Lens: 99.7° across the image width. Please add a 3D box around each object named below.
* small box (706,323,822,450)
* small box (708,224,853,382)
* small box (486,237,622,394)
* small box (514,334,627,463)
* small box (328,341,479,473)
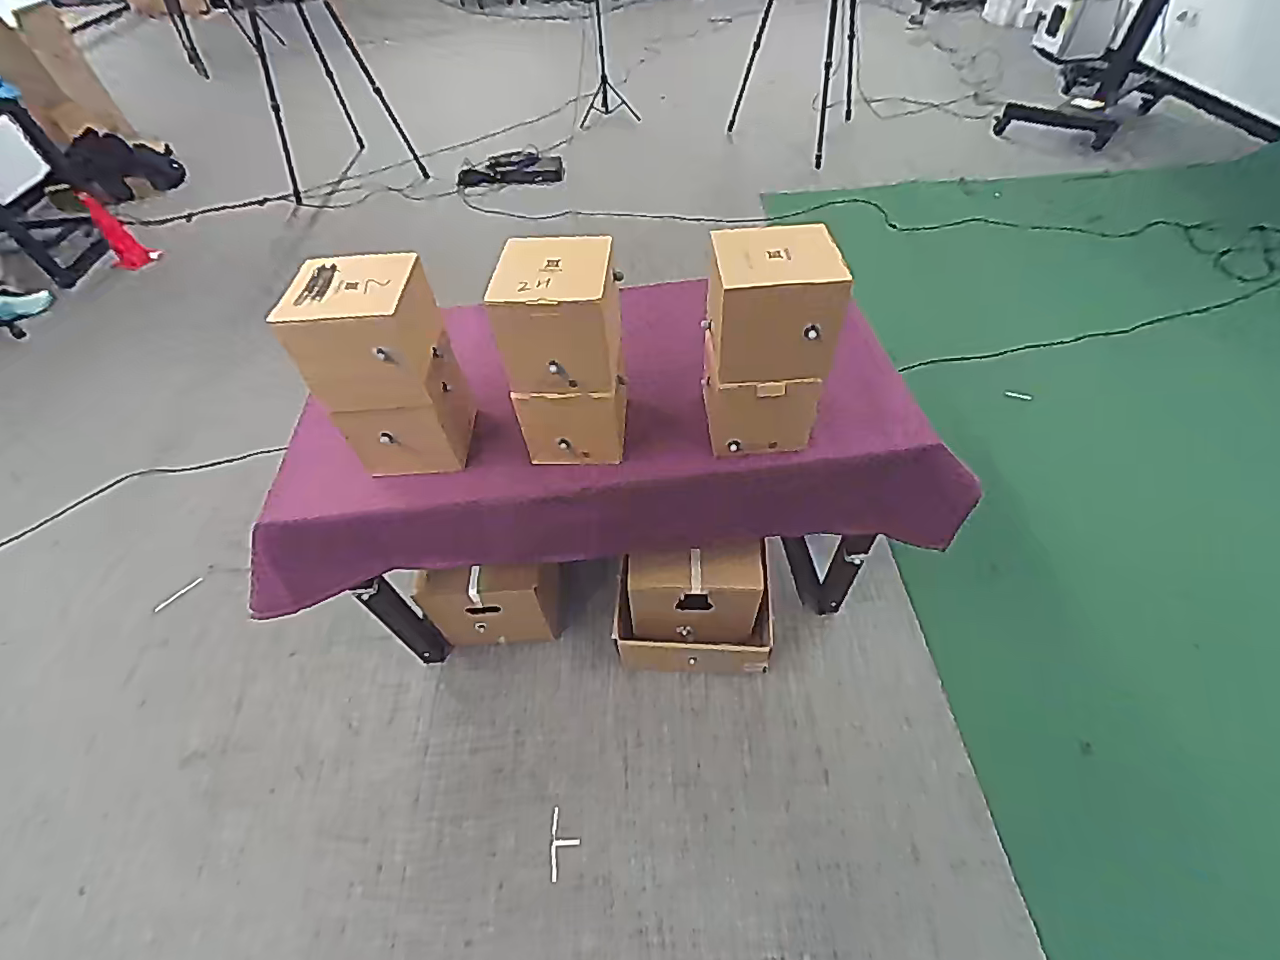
[{"bbox_3d":[0.207,-0.165,0.958,0.168,0.176,0.179,-4,50,1],"label":"small box"},{"bbox_3d":[0.202,-0.268,0.832,0.179,0.176,0.168,-3,51,2],"label":"small box"},{"bbox_3d":[-0.121,-0.257,0.847,0.168,0.176,0.179,1,53,5],"label":"small box"},{"bbox_3d":[-0.113,-0.150,0.972,0.168,0.176,0.179,0,53,4],"label":"small box"},{"bbox_3d":[-0.410,-0.126,0.972,0.179,0.176,0.168,-4,52,2],"label":"small box"}]
